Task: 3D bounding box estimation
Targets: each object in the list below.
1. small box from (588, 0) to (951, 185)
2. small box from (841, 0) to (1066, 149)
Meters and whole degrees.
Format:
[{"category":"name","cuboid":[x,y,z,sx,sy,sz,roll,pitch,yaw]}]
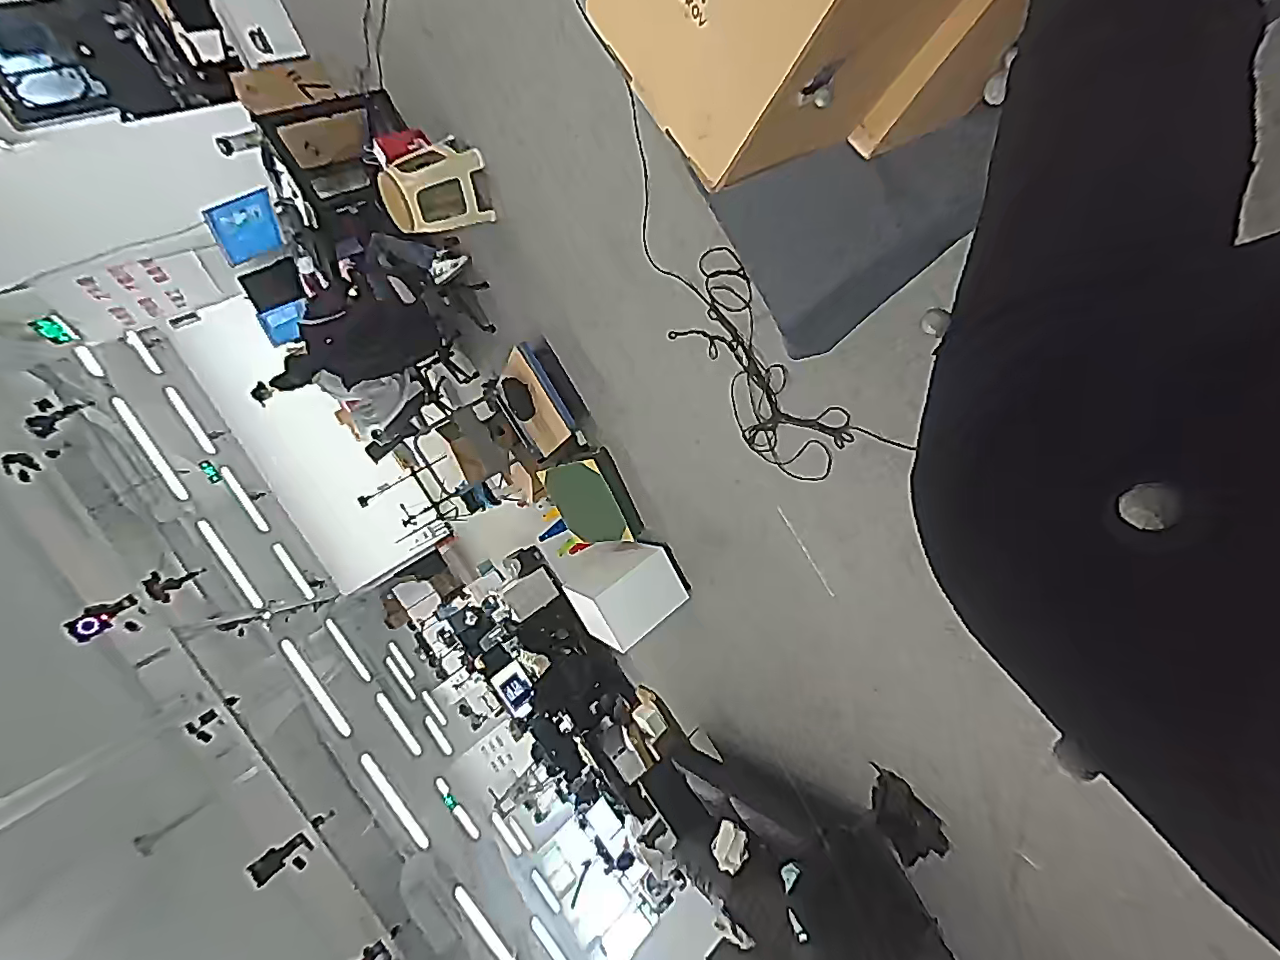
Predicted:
[{"category":"small box","cuboid":[0.097,-0.341,0.352,0.168,0.176,0.179,54,154,0]},{"category":"small box","cuboid":[0.225,-0.410,0.424,0.179,0.176,0.168,53,155,4]}]
